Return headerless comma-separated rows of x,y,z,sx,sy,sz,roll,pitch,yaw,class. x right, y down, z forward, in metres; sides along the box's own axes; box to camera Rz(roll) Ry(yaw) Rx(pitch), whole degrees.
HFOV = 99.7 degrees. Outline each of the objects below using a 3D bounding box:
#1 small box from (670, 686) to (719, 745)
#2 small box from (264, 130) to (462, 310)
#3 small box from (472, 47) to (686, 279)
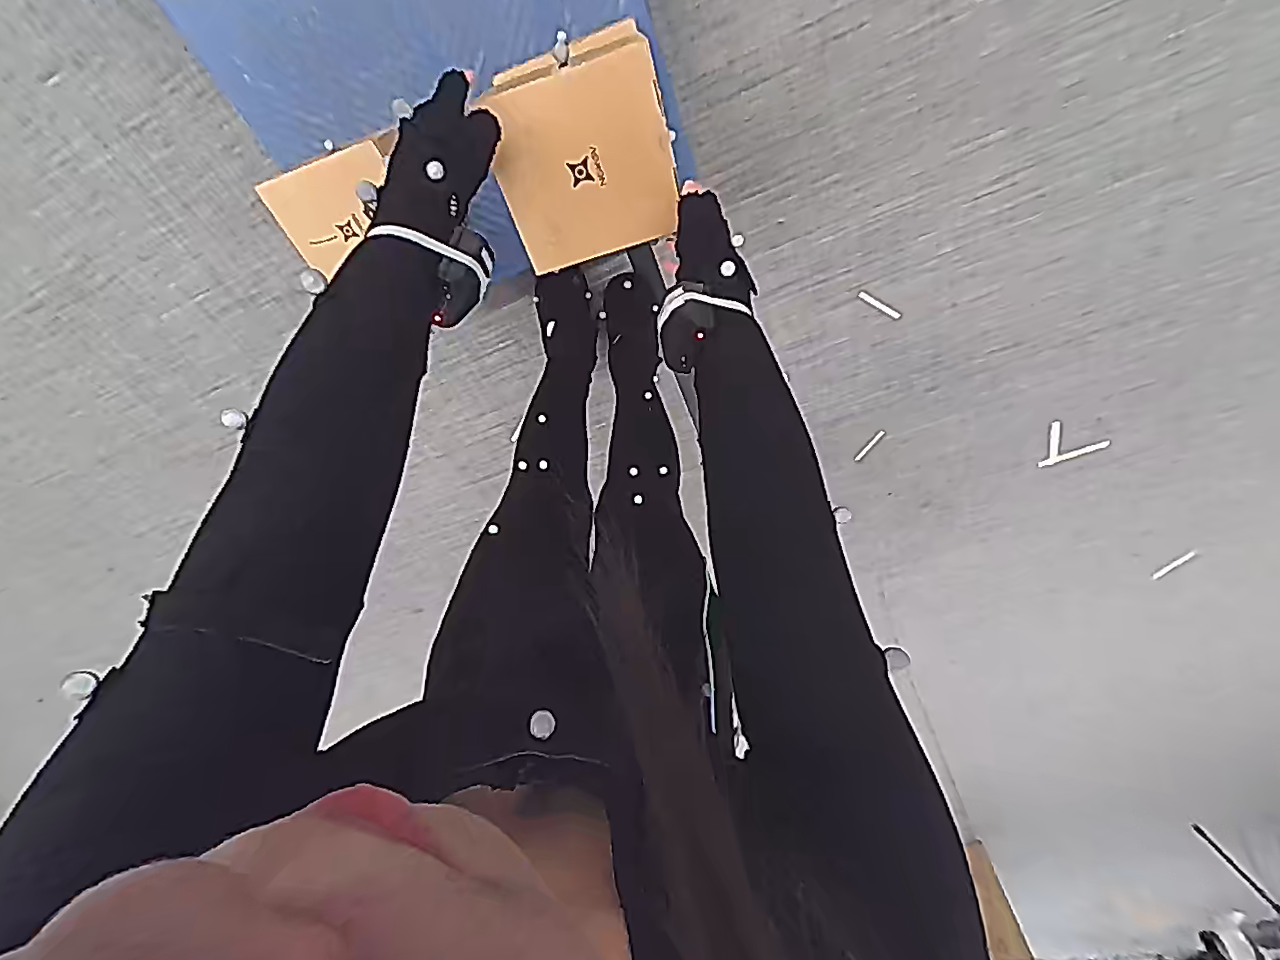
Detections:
0.222,0.965,2.232,0.168,0.176,0.179,-12,131,9,small box
-0.375,-0.376,0.778,0.179,0.176,0.168,-14,130,10,small box
-0.057,-0.353,0.601,0.179,0.176,0.168,-15,130,8,small box
